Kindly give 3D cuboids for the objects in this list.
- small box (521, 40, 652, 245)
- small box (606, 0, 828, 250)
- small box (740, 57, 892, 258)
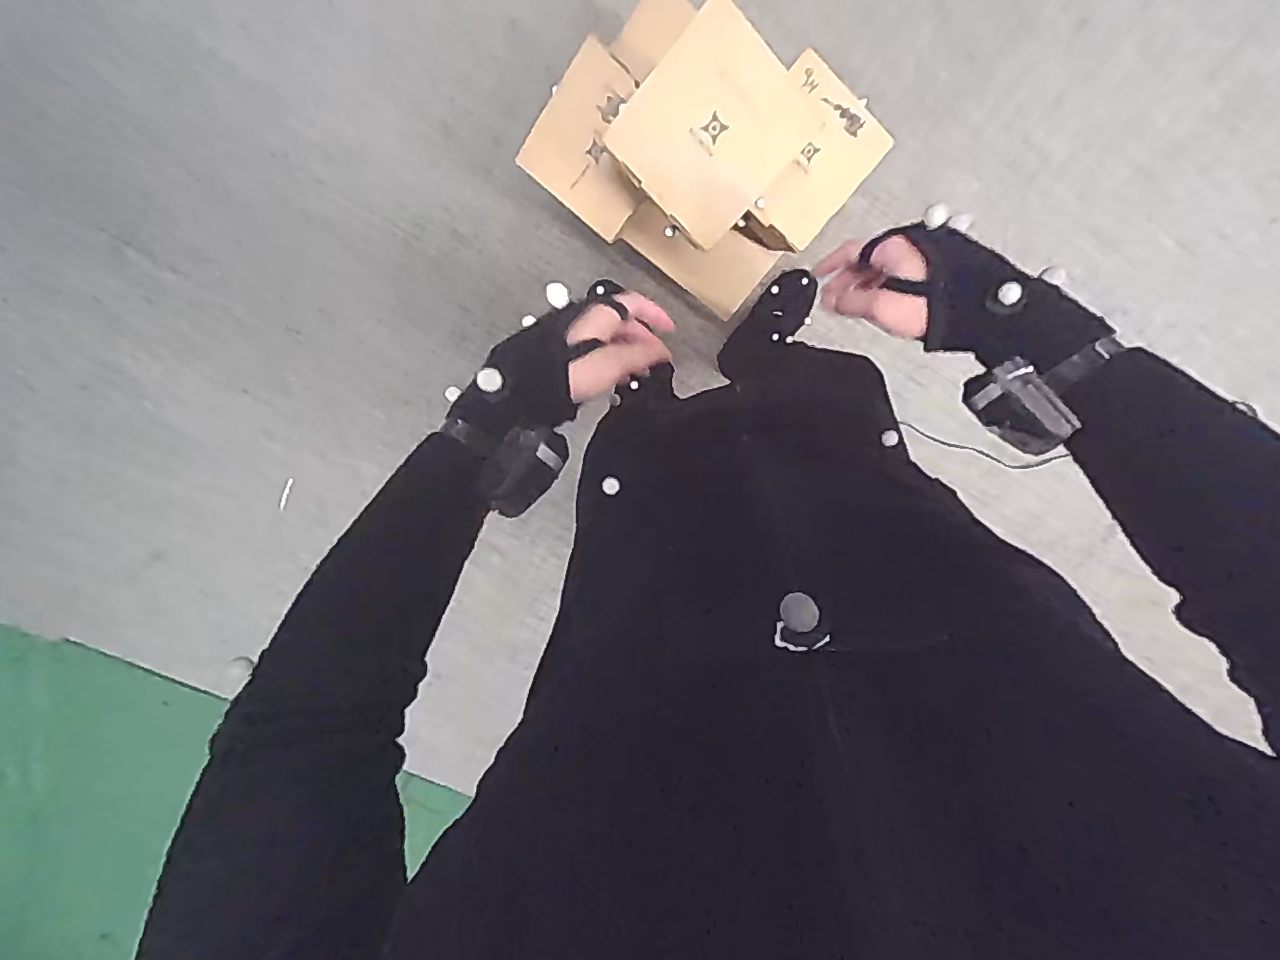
[{"bbox_3d":[-0.043,-0.471,0.785,0.168,0.176,0.179,38,112,-14],"label":"small box"},{"bbox_3d":[0.081,-0.396,0.637,0.168,0.176,0.179,41,107,-16],"label":"small box"},{"bbox_3d":[0.219,-0.450,0.790,0.168,0.176,0.179,37,109,-13],"label":"small box"}]
